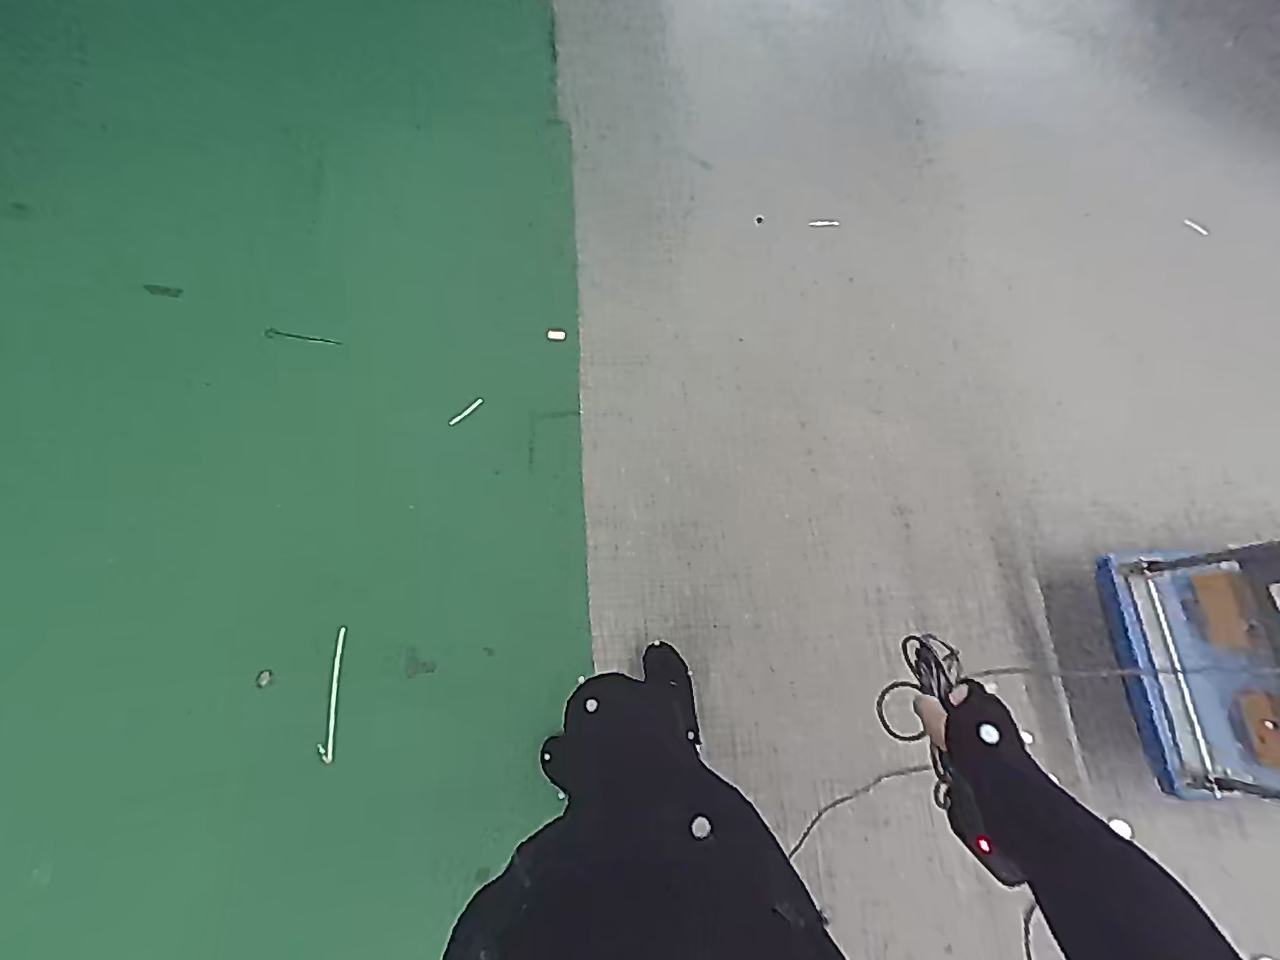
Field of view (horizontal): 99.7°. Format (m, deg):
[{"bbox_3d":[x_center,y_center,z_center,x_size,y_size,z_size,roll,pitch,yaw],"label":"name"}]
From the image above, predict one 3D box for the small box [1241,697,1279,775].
[{"bbox_3d":[1.529,0.577,1.204,0.179,0.176,0.168,1,71,-1],"label":"small box"}]
